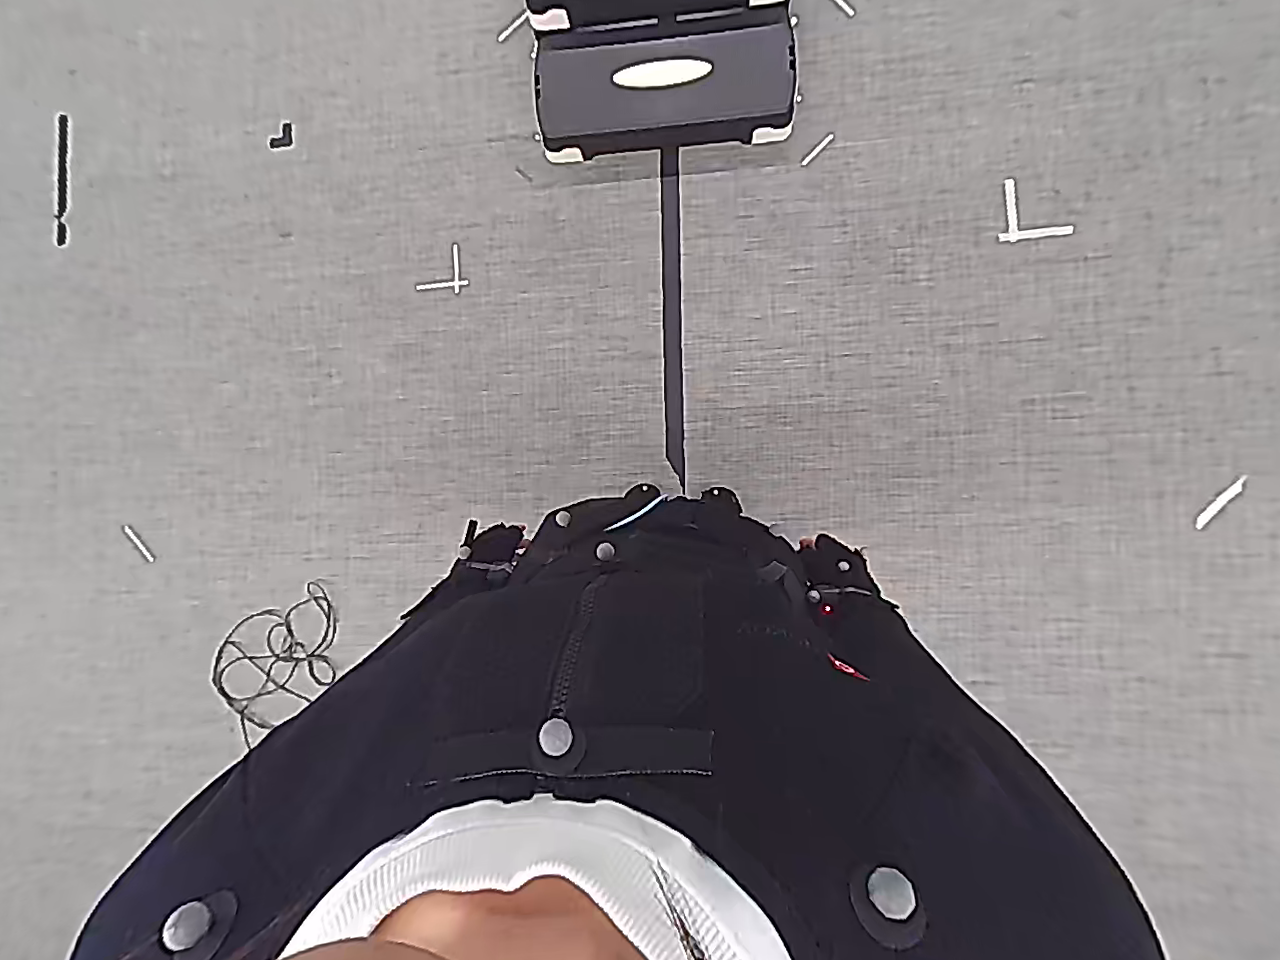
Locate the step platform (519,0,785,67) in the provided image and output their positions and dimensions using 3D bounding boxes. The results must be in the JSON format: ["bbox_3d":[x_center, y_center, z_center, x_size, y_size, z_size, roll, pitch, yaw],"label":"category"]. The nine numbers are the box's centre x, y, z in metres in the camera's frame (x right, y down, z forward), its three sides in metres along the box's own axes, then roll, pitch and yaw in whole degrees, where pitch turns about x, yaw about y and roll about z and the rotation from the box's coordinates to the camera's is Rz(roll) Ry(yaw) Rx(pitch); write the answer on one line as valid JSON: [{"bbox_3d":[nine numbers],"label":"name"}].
[{"bbox_3d":[0.027,-1.287,1.362,0.684,0.204,0.286,-3,90,5],"label":"step platform"}]
